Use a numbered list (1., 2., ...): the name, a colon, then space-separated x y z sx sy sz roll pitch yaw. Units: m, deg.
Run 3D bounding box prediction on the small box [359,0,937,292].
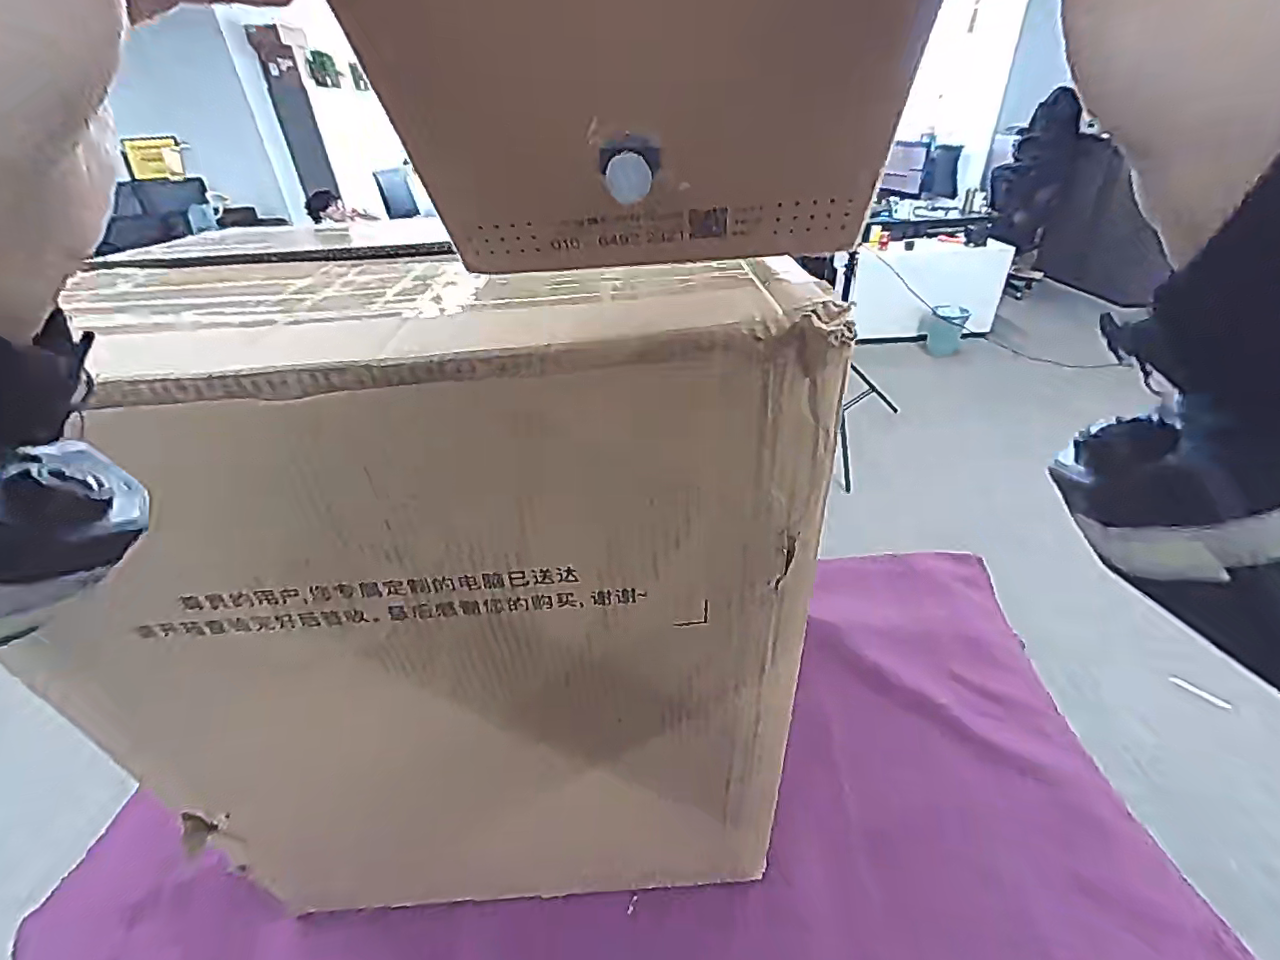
1. small box: 0.000 -0.196 0.197 0.168 0.176 0.179 -2 68 5
